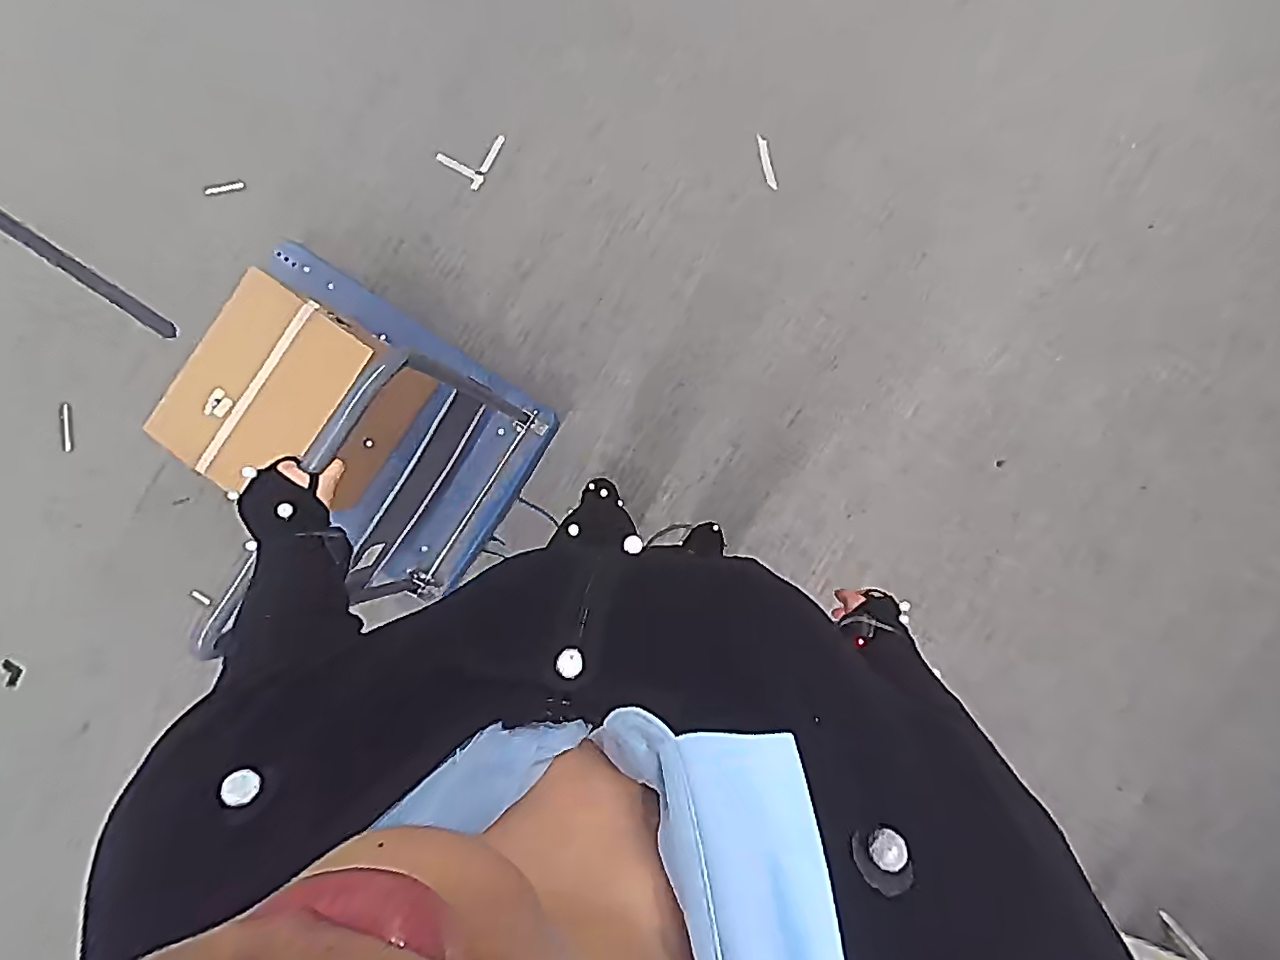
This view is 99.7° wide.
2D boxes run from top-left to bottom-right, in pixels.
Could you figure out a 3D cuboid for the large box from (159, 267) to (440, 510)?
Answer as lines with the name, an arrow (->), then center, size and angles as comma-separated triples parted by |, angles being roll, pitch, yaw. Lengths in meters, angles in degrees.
large box -> -0.742, -0.188, 1.239 | 0.320, 0.320, 0.408 | 35, 92, 4
